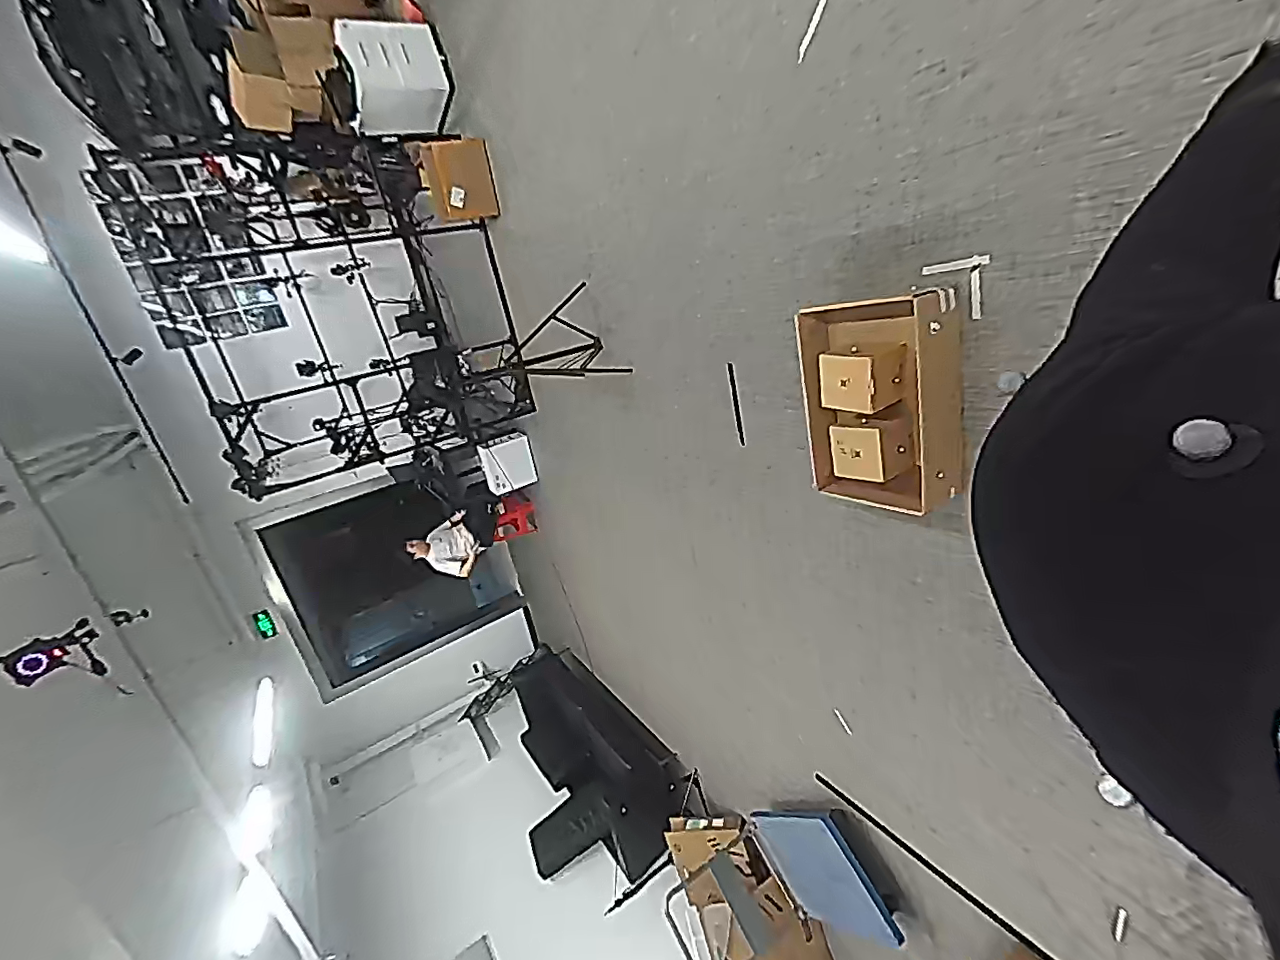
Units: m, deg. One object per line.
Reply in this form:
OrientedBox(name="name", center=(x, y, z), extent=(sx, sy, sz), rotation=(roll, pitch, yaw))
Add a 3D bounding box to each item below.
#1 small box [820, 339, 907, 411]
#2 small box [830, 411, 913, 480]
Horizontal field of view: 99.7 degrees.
OrientedBox(name="small box", center=(0.663, -0.317, 1.608), extent=(0.179, 0.176, 0.168), rotation=(24, 131, 53))
OrientedBox(name="small box", center=(0.716, -0.112, 1.660), extent=(0.179, 0.176, 0.168), rotation=(15, 121, 57))
